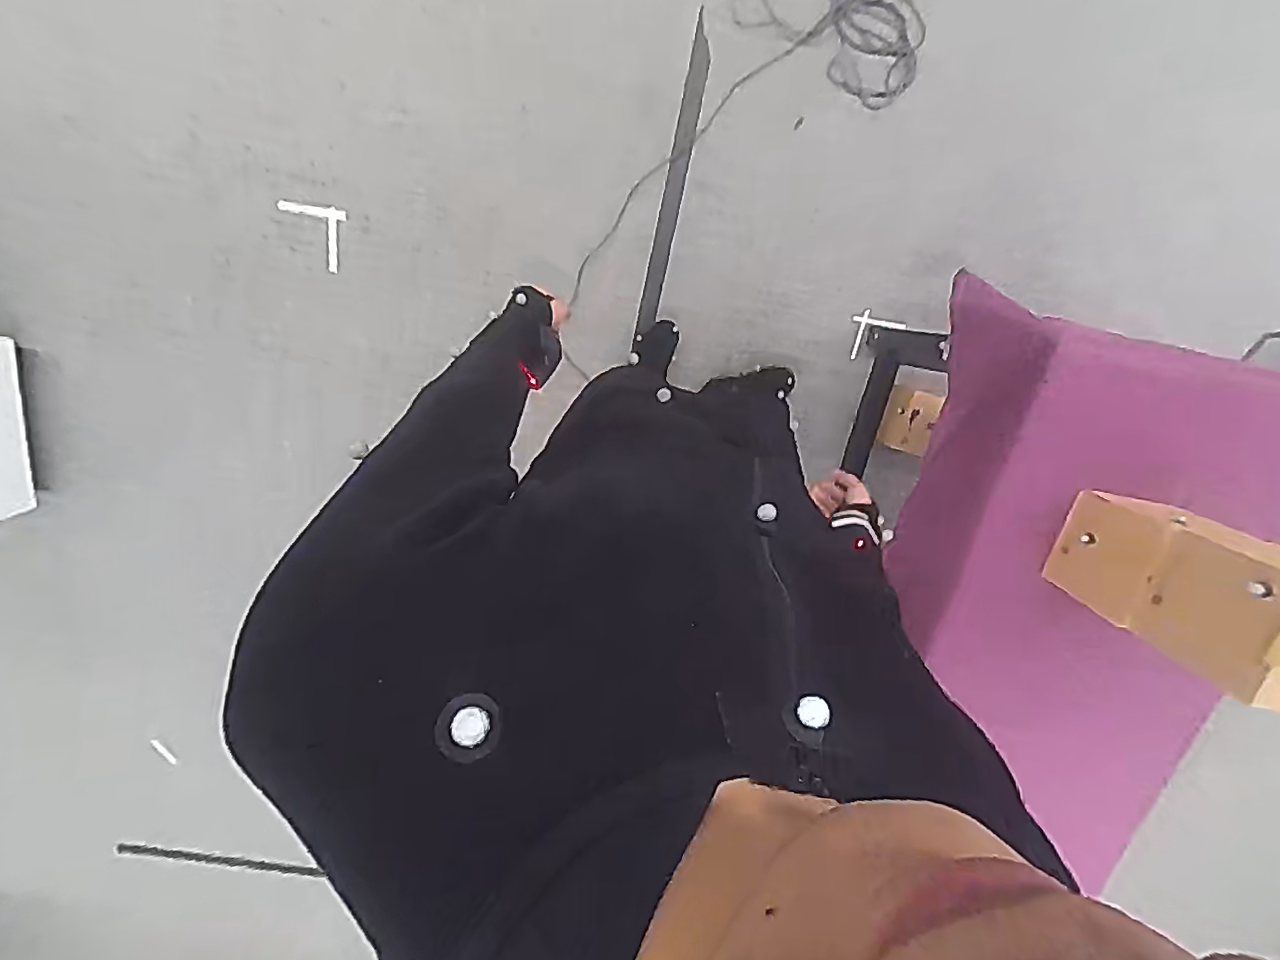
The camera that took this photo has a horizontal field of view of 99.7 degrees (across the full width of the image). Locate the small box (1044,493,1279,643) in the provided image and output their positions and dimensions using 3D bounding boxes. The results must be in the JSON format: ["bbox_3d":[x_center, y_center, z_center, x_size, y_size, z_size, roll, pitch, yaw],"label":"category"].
[{"bbox_3d":[0.814,0.133,0.867,0.179,0.176,0.168,10,108,-4],"label":"small box"}]
